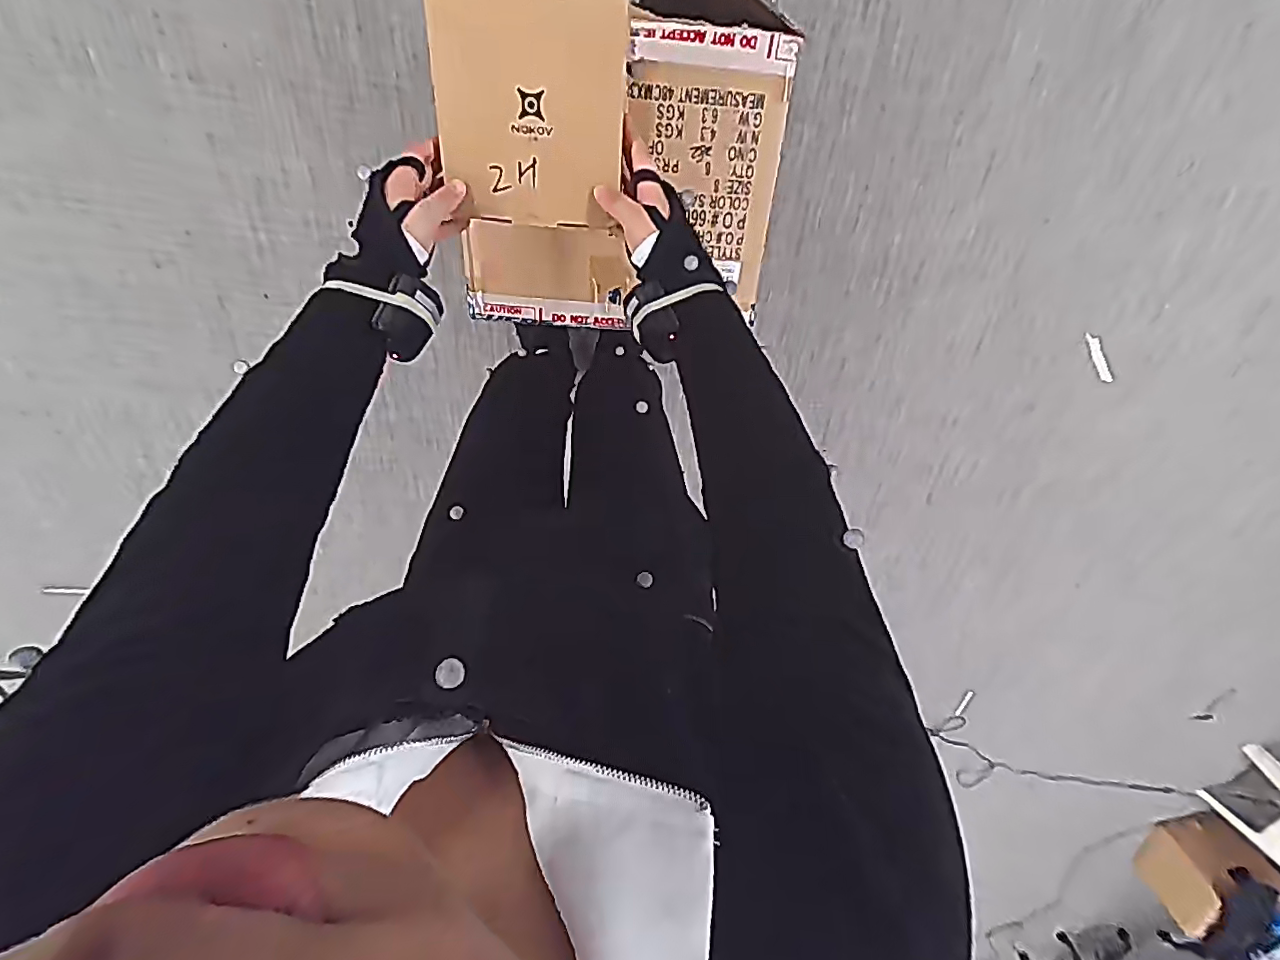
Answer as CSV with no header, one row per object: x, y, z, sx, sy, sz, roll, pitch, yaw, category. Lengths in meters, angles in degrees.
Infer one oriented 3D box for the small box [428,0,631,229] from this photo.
-0.098,-0.365,0.543,0.168,0.176,0.179,3,124,-3,small box
